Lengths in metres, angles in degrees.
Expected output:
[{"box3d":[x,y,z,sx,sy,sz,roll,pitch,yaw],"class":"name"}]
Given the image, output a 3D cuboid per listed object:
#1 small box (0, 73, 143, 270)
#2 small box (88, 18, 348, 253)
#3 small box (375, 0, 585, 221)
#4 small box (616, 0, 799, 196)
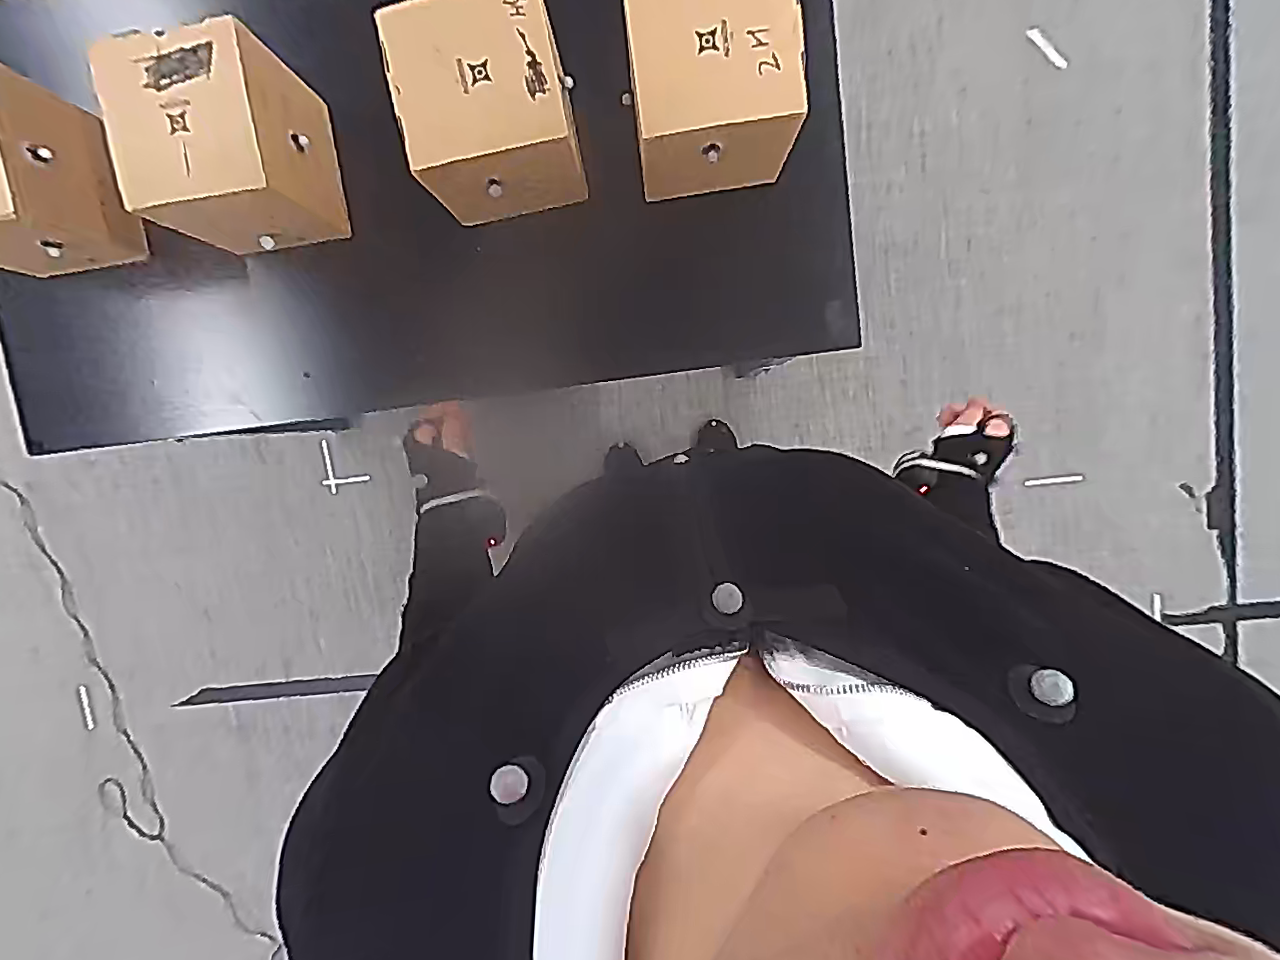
[{"box3d":[-0.778,-0.373,0.670,0.168,0.176,0.179,-9,95,1],"class":"small box"},{"box3d":[-0.492,-0.400,0.659,0.168,0.176,0.179,-8,97,3],"class":"small box"},{"box3d":[-0.176,-0.434,0.647,0.179,0.176,0.168,-11,96,3],"class":"small box"},{"box3d":[0.074,-0.458,0.636,0.179,0.176,0.168,-7,96,3],"class":"small box"}]
